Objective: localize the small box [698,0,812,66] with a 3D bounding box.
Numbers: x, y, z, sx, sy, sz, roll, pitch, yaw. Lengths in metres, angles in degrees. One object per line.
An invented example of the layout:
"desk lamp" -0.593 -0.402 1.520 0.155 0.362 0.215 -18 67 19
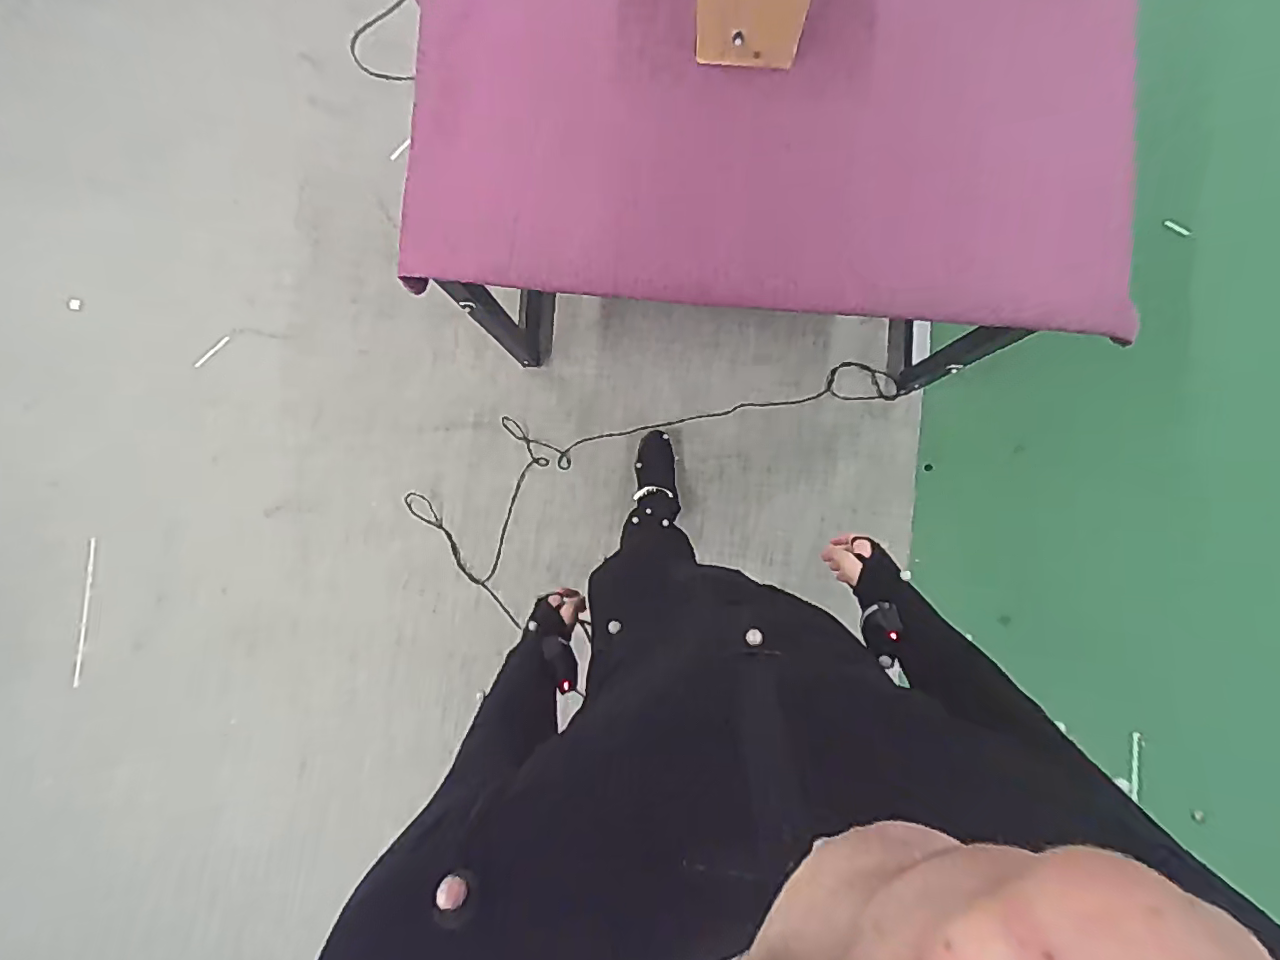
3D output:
"small box" 0.182 -0.795 0.835 0.168 0.176 0.179 6 89 3
